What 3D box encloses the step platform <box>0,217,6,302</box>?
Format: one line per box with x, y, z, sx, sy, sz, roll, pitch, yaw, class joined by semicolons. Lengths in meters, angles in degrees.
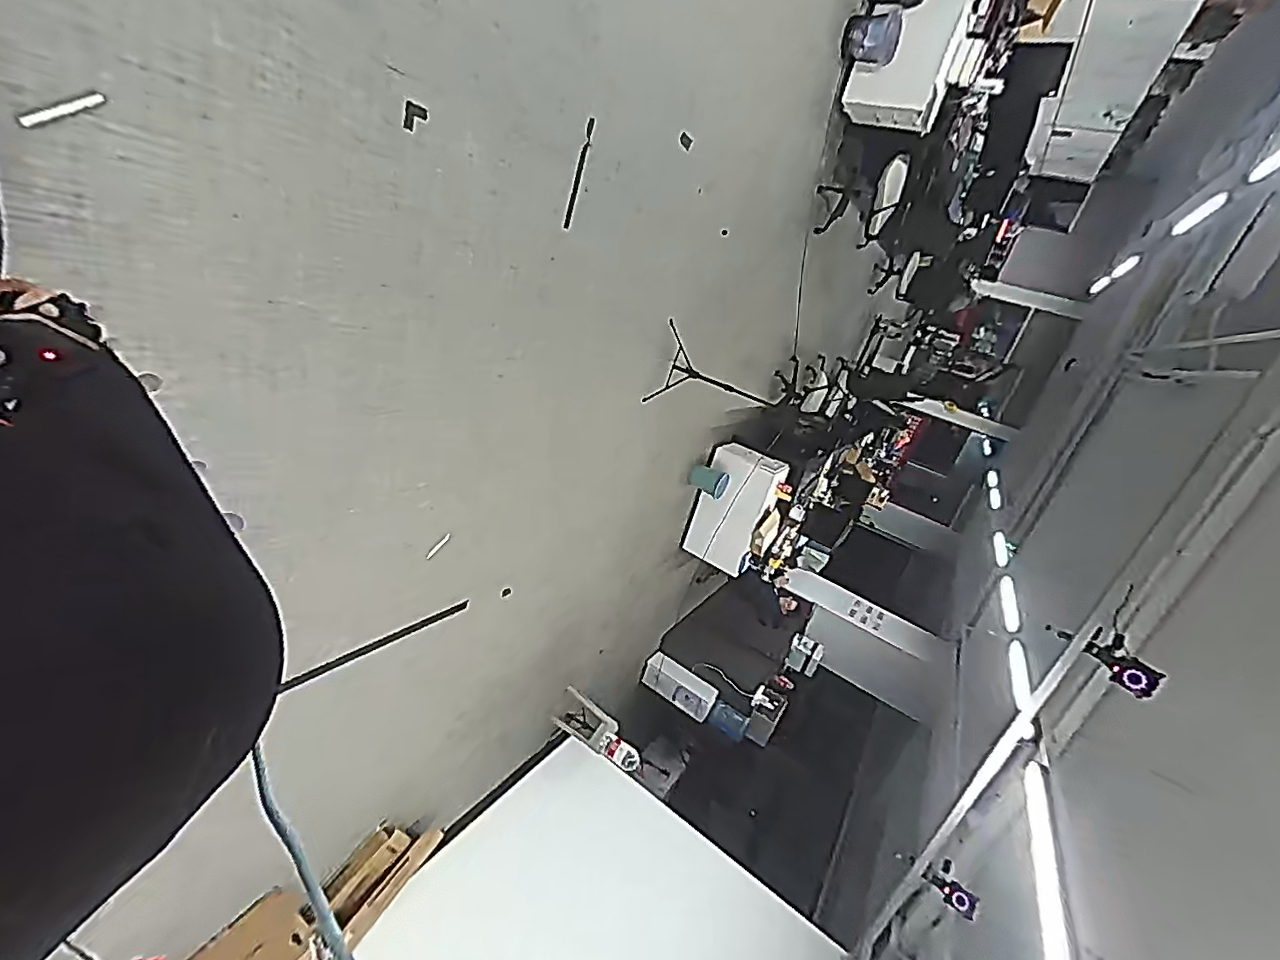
-1.293;-0.370;0.655;0.684;0.204;0.286;-8;119;-59;step platform
